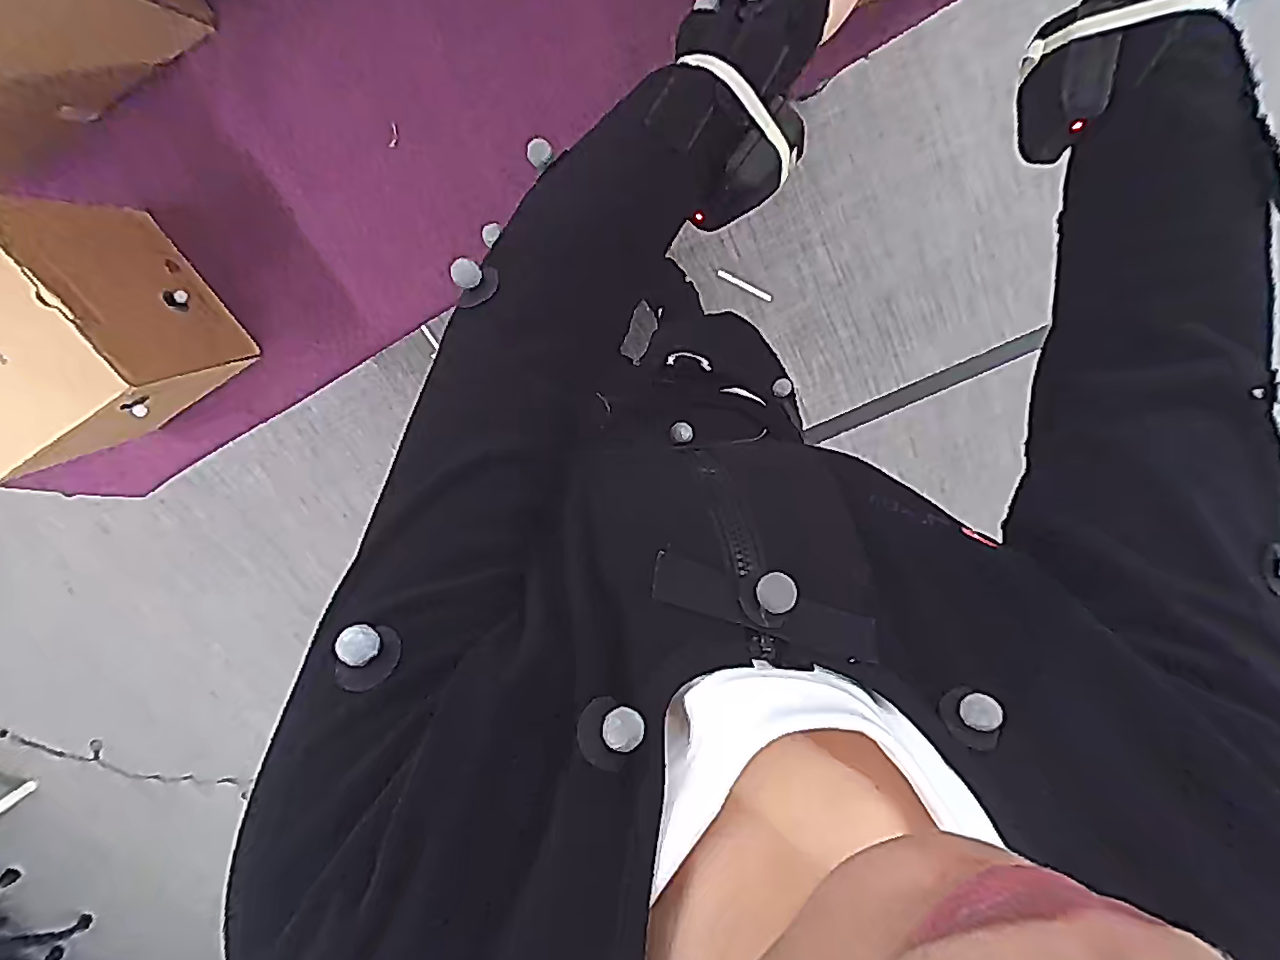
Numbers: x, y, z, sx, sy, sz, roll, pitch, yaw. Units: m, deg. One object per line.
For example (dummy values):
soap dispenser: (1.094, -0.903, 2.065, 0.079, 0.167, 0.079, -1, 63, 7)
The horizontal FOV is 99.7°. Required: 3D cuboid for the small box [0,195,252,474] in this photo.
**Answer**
small box: (-0.530, -0.136, 0.510, 0.179, 0.176, 0.168, -29, 110, 10)
